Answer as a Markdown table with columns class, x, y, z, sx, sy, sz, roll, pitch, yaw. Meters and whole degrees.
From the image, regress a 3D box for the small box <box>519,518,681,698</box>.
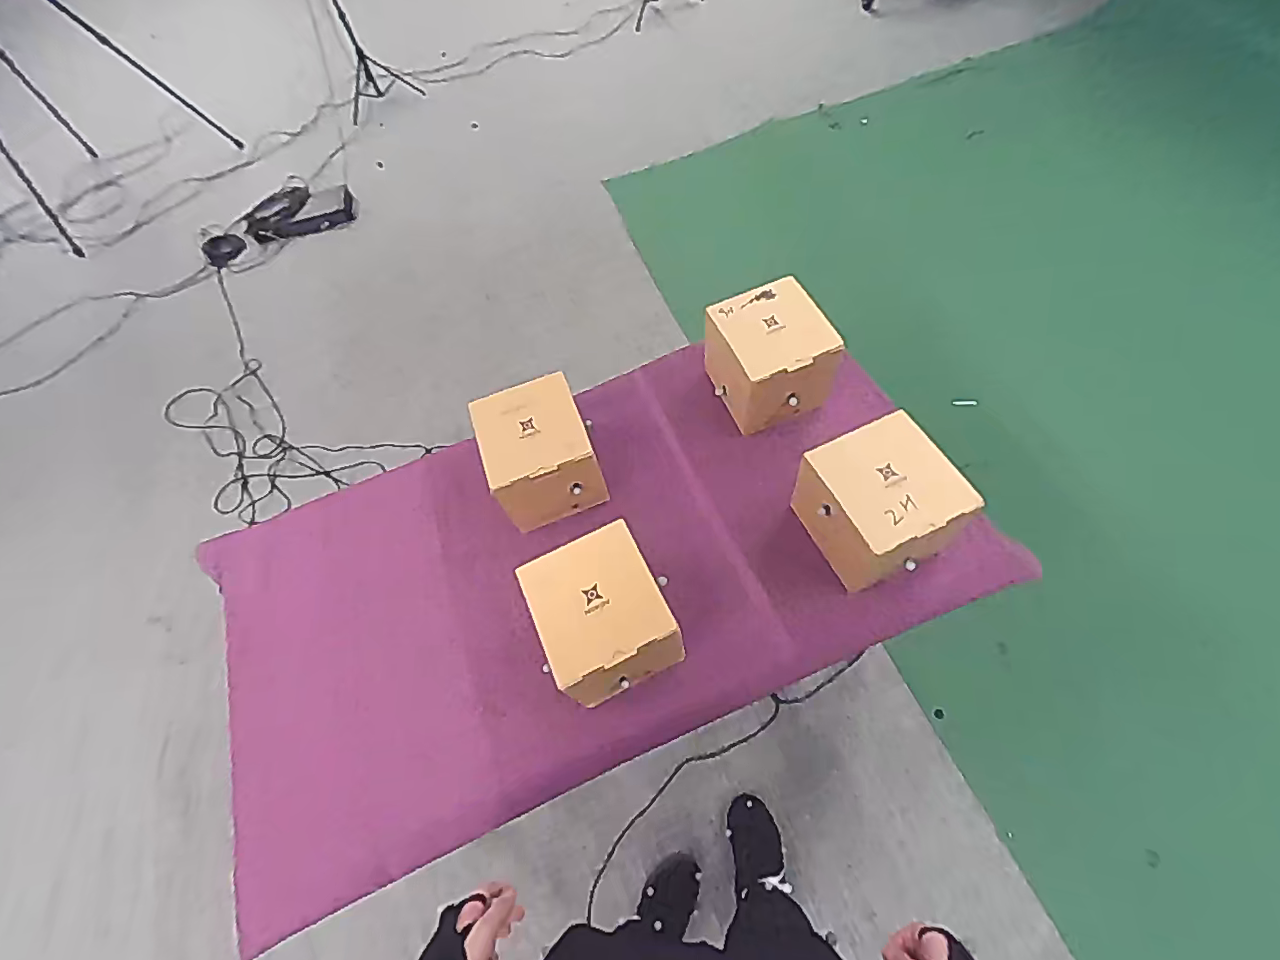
| class | x | y | z | sx | sy | sz | roll | pitch | yaw |
| --- | --- | --- | --- | --- | --- | --- | --- | --- | --- |
| small box | -0.052 | 0.189 | 0.777 | 0.168 | 0.176 | 0.179 | -25 | 62 | -7 |

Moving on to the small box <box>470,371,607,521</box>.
| class | x | y | z | sx | sy | sz | roll | pitch | yaw |
| --- | --- | --- | --- | --- | --- | --- | --- | --- | --- |
| small box | -0.165 | -0.047 | 0.918 | 0.168 | 0.176 | 0.179 | -20 | 62 | -5 |

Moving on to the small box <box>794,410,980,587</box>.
| class | x | y | z | sx | sy | sz | roll | pitch | yaw |
| --- | --- | --- | --- | --- | --- | --- | --- | --- | --- |
| small box | 0.349 | 0.033 | 0.809 | 0.168 | 0.176 | 0.179 | -24 | 61 | -4 |

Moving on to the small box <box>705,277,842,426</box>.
| class | x | y | z | sx | sy | sz | roll | pitch | yaw |
| --- | --- | --- | --- | --- | --- | --- | --- | --- | --- |
| small box | 0.225 | -0.216 | 0.959 | 0.168 | 0.176 | 0.179 | -22 | 64 | -5 |
